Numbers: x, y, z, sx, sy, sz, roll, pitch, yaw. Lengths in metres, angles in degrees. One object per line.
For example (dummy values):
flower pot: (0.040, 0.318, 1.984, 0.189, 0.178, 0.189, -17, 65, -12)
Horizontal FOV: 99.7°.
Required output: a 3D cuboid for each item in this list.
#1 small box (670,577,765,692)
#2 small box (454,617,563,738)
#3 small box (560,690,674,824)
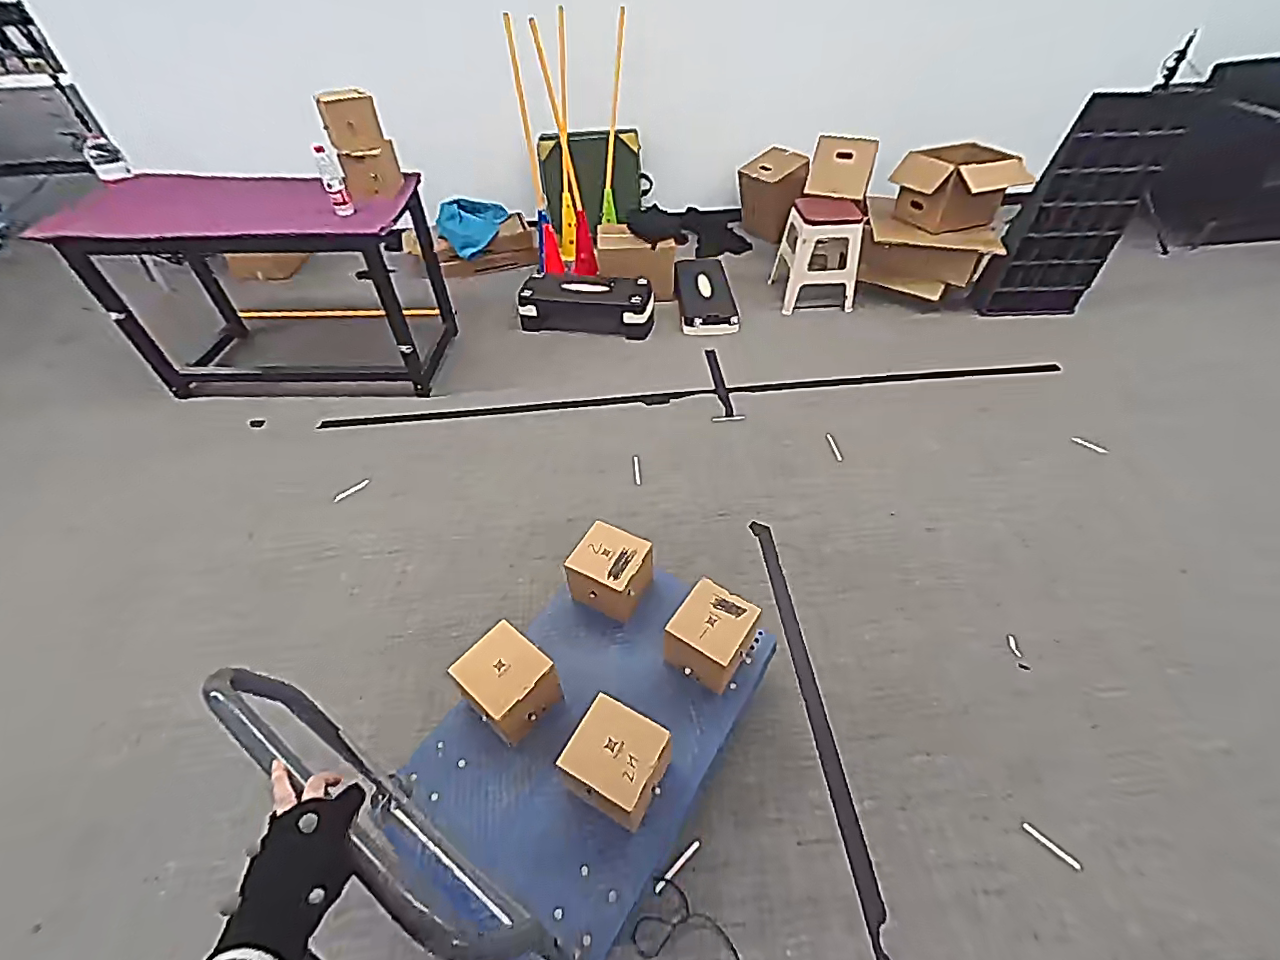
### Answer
small box: (0.183, 0.378, 1.323, 0.168, 0.176, 0.179, 28, 54, 25)
small box: (-0.298, 0.462, 1.256, 0.179, 0.176, 0.168, 32, 54, 26)
small box: (-0.043, 0.583, 1.132, 0.179, 0.176, 0.168, 22, 51, 21)
